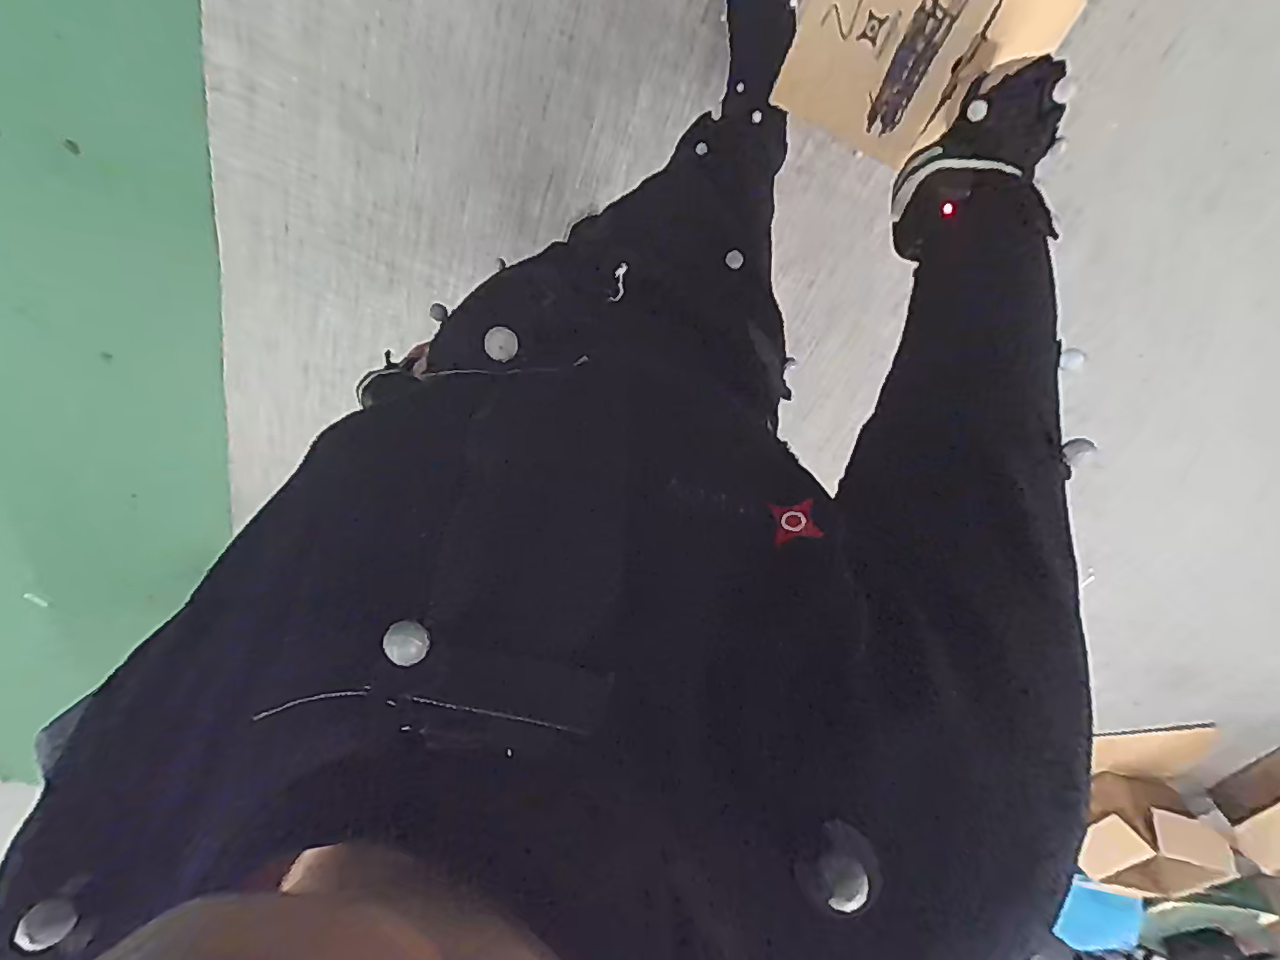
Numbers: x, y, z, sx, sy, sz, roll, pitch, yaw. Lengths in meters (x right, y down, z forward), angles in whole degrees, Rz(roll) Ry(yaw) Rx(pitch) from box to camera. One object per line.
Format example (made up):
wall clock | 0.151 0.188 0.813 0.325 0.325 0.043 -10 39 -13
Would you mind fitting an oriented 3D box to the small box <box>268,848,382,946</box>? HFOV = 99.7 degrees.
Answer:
small box | -0.777 1.041 1.339 0.179 0.176 0.168 26 125 -16
